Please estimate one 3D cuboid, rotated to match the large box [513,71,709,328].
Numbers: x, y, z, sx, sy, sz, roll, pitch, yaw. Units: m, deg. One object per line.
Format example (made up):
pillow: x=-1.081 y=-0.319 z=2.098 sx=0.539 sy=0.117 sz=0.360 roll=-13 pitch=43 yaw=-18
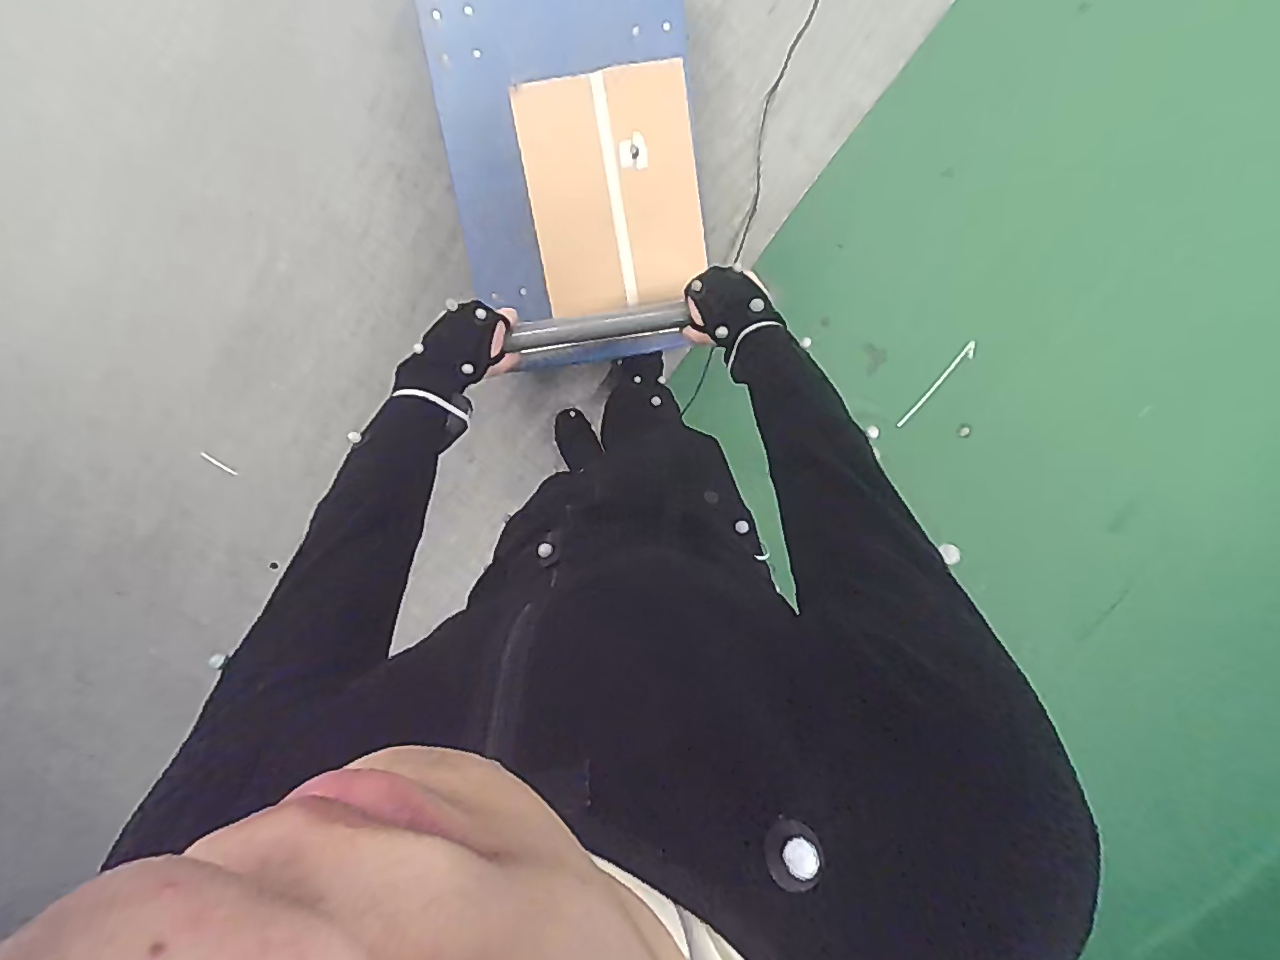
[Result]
large box: x=-0.053 y=-0.561 z=1.168 sx=0.320 sy=0.320 sz=0.408 roll=-10 pitch=104 yaw=-2
